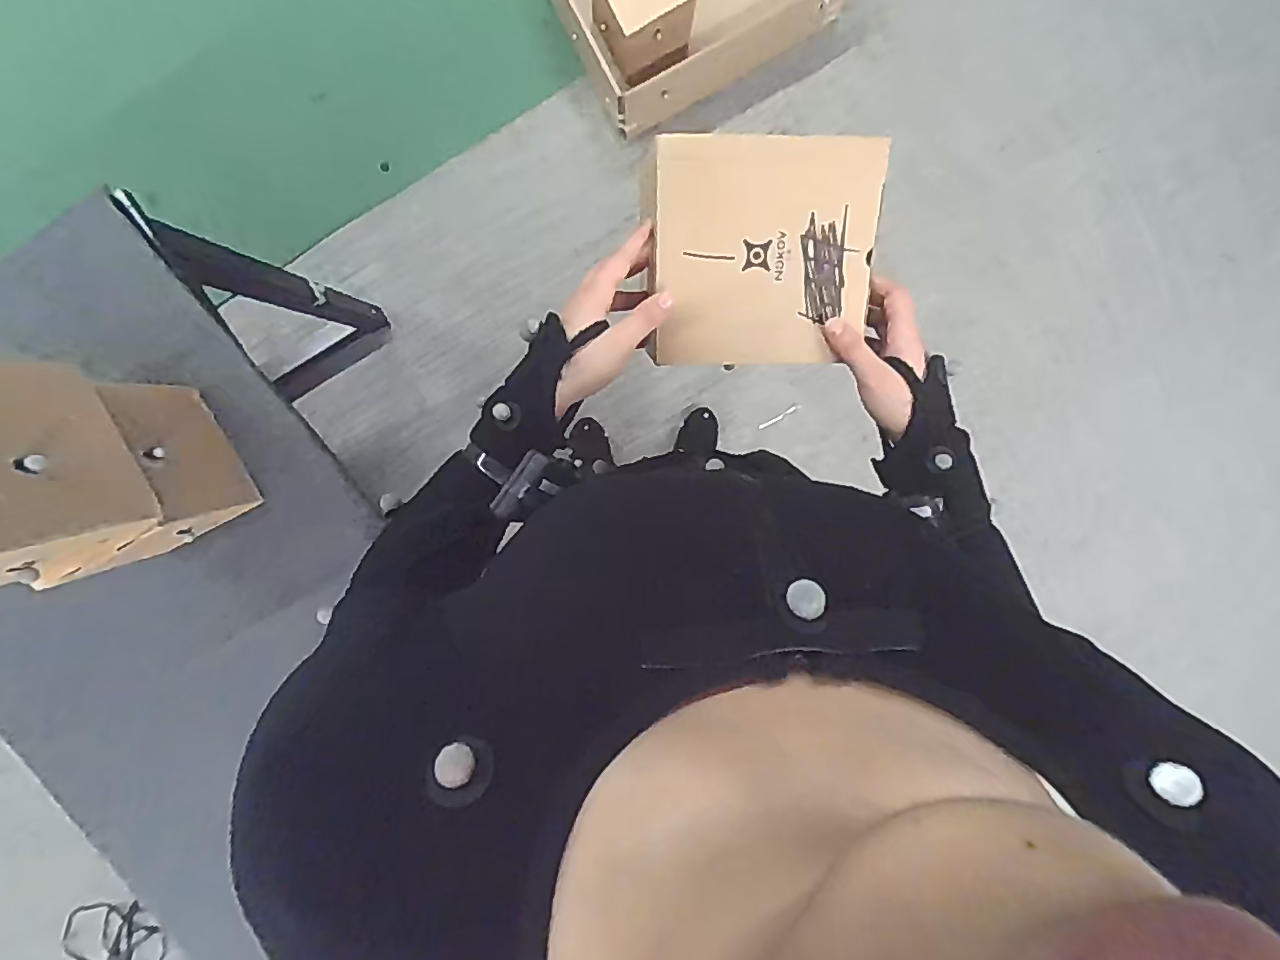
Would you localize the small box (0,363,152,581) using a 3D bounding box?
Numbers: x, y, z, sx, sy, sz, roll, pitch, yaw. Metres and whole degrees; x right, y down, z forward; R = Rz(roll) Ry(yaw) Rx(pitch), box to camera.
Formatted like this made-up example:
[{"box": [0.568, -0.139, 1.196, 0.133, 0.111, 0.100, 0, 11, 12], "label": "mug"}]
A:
[{"box": [-0.602, 0.003, 0.475, 0.168, 0.176, 0.179, -24, 98, 2], "label": "small box"}]

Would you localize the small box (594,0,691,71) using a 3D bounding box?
[{"box": [0.004, -1.060, 1.192, 0.179, 0.176, 0.168, -29, 99, 1], "label": "small box"}]

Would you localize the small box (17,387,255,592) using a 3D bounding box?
[{"box": [-0.615, -0.002, 0.640, 0.168, 0.176, 0.179, -27, 97, 2], "label": "small box"}]

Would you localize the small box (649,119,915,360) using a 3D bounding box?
[{"box": [0.104, -0.202, 0.482, 0.179, 0.176, 0.168, -1, 110, -4], "label": "small box"}]
